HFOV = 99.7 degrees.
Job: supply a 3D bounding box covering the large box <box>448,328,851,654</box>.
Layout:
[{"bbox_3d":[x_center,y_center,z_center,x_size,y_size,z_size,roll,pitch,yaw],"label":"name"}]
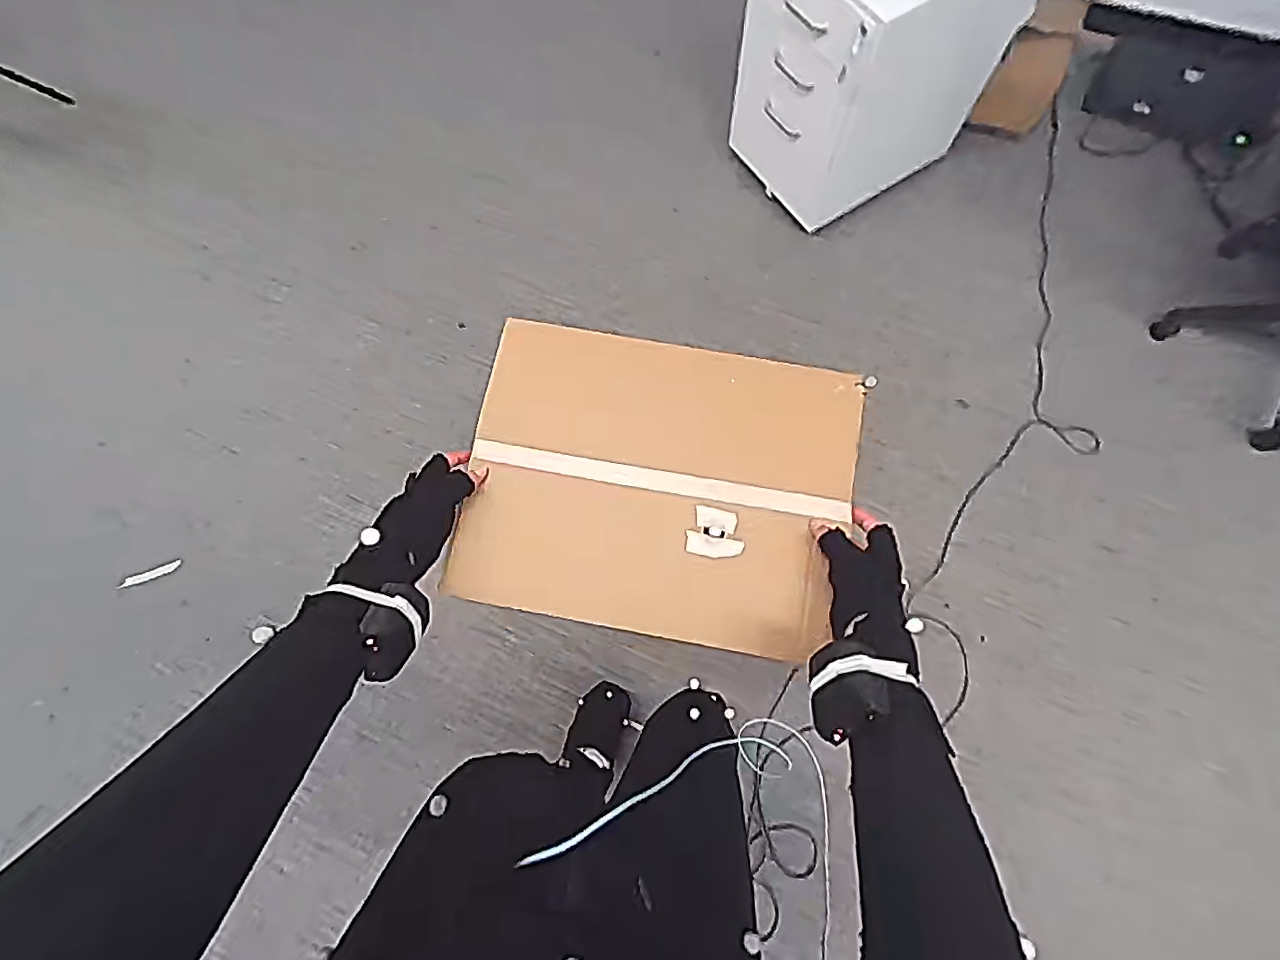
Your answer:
[{"bbox_3d":[0.018,0.032,0.727,0.408,0.320,0.320,10,79,2],"label":"large box"}]
